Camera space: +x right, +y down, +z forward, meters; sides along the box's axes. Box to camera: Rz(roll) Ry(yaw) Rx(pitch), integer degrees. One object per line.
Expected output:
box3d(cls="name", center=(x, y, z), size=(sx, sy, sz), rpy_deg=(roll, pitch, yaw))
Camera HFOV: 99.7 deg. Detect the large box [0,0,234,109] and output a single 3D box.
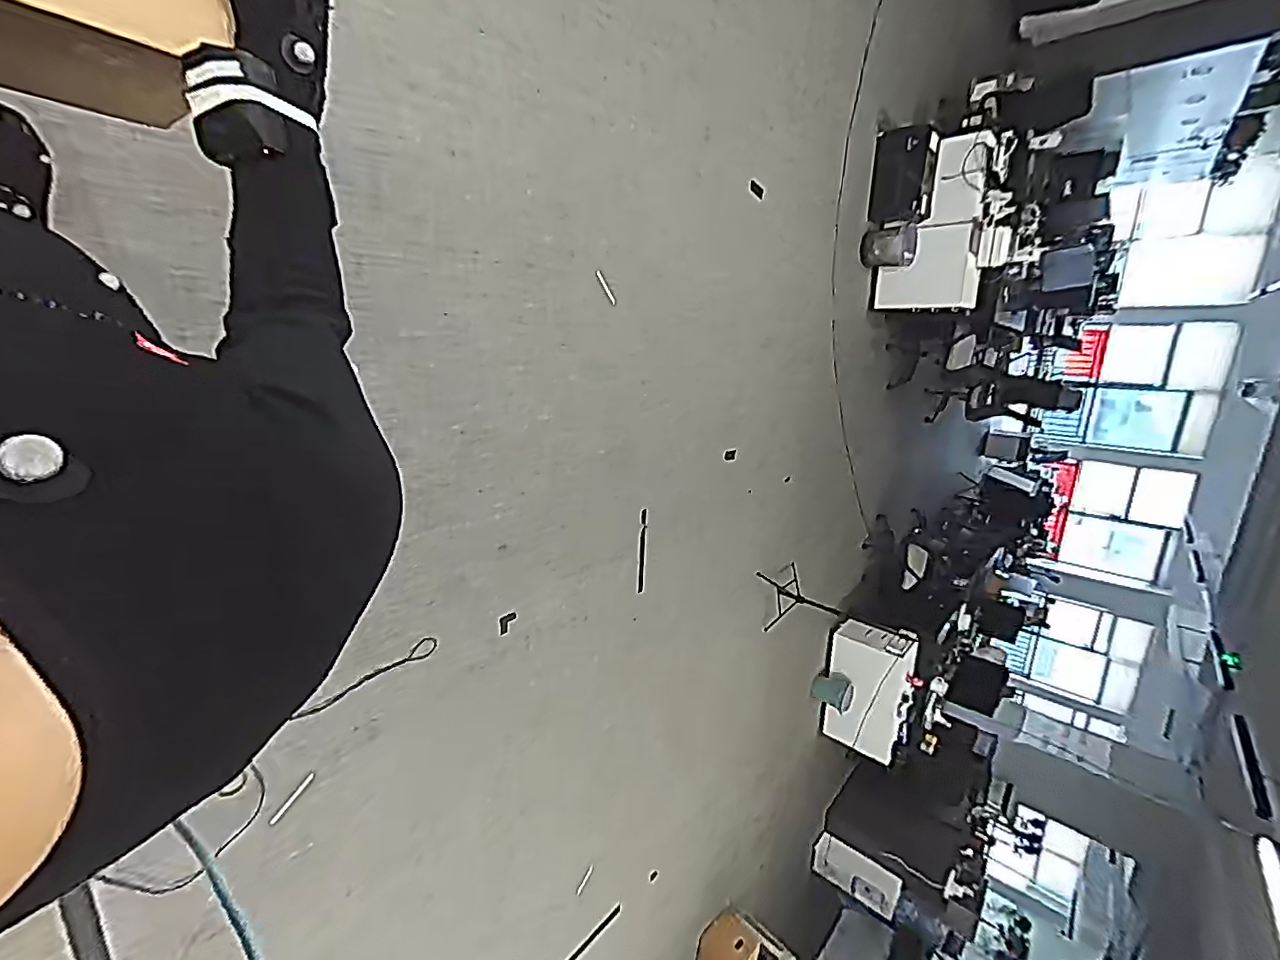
box3d(cls="large box", center=(-0.536, -0.477, 0.315), size=(0.408, 0.320, 0.320), rpy_deg=(-12, 116, -48))
